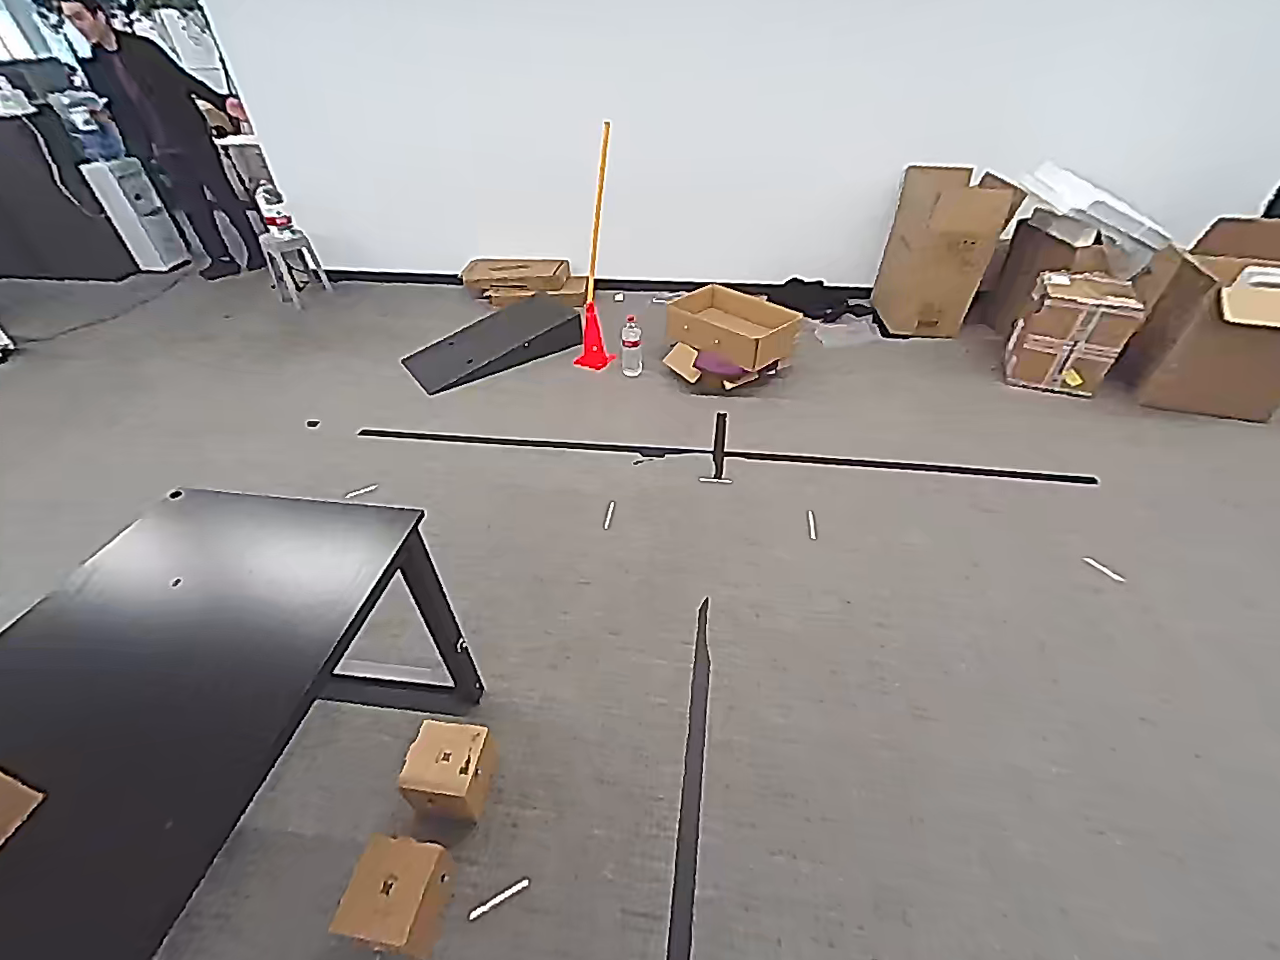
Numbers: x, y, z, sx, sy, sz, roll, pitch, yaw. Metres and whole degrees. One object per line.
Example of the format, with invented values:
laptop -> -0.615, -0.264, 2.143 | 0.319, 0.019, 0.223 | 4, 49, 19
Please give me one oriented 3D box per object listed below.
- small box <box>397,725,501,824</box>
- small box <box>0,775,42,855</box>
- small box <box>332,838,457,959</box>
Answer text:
small box -> -0.473, 0.746, 1.368 | 0.179, 0.176, 0.168 | 3, 41, 7
small box -> -0.905, 0.422, 0.636 | 0.179, 0.176, 0.168 | 5, 40, 7
small box -> -0.516, 0.915, 1.171 | 0.168, 0.176, 0.179 | 3, 41, 8
